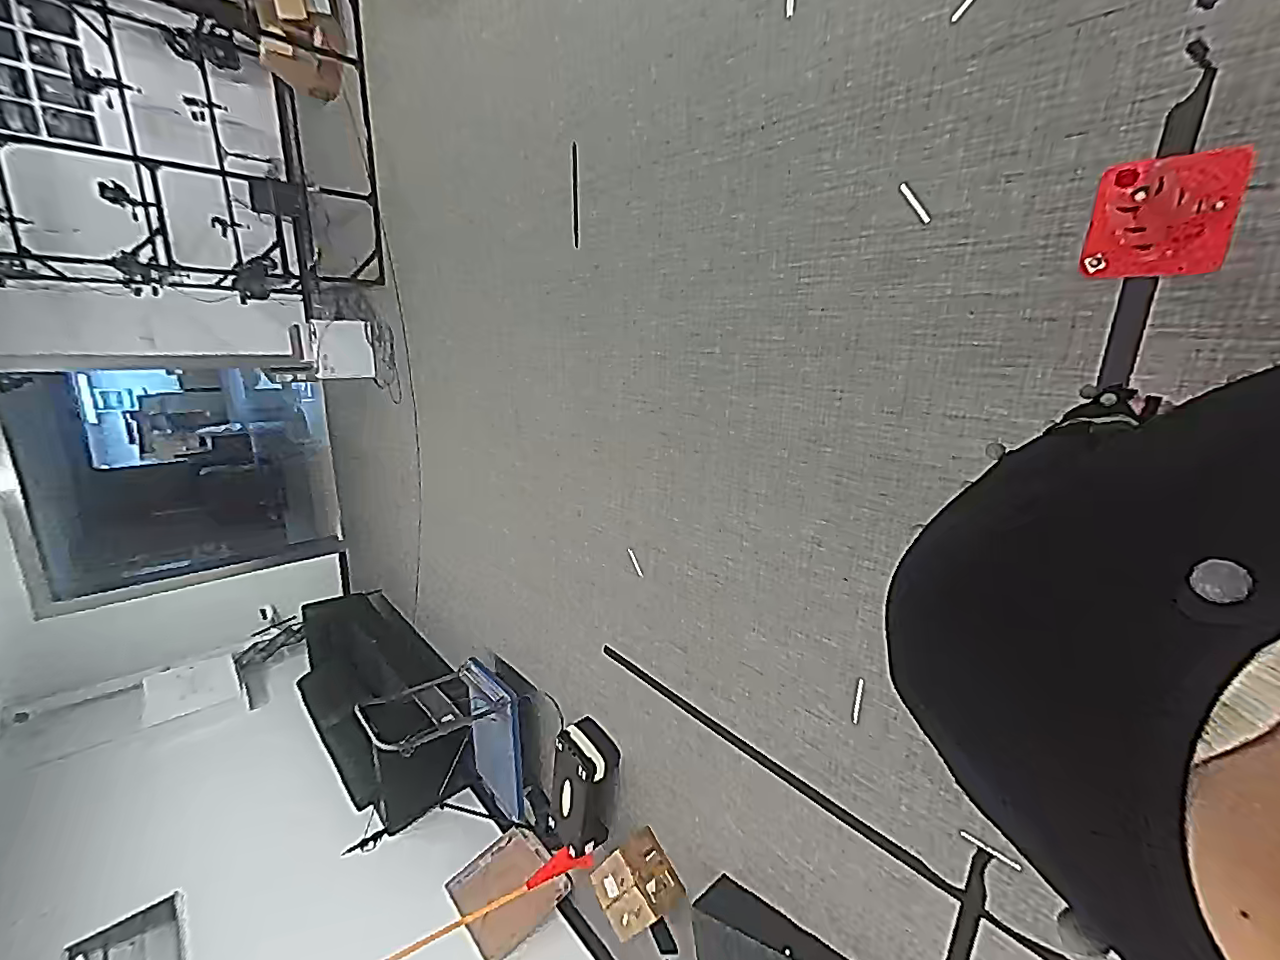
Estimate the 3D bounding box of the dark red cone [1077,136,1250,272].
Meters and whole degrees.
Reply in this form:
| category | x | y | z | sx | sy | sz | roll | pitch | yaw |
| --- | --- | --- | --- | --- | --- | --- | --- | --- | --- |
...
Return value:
| category | x | y | z | sx | sy | sz | roll | pitch | yaw |
| --- | --- | --- | --- | --- | --- | --- | --- | --- | --- |
| dark red cone | 0.793 | -0.452 | 0.846 | 0.201 | 0.394 | 0.202 | 17 | 111 | 45 |
